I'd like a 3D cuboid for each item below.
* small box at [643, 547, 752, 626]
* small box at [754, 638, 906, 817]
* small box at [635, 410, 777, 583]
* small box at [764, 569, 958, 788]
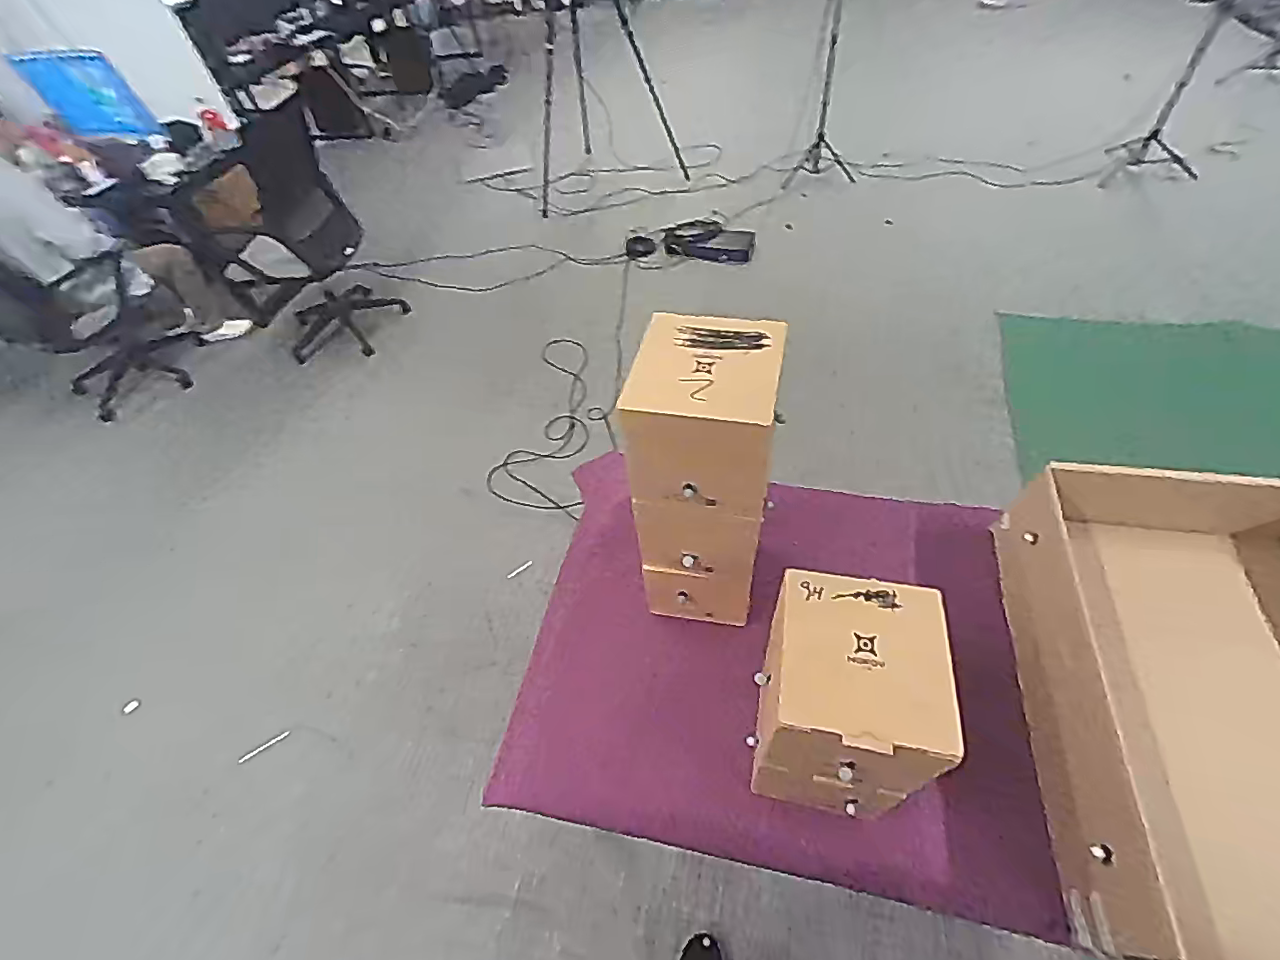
[{"bbox_3d":[0.110,0.130,0.924,0.168,0.176,0.179,5,51,12],"label":"small box"},{"bbox_3d":[0.250,0.334,0.736,0.168,0.176,0.179,7,51,13],"label":"small box"},{"bbox_3d":[0.100,0.025,0.798,0.168,0.176,0.179,9,53,15],"label":"small box"},{"bbox_3d":[0.235,0.228,0.613,0.168,0.176,0.179,7,52,12],"label":"small box"}]
